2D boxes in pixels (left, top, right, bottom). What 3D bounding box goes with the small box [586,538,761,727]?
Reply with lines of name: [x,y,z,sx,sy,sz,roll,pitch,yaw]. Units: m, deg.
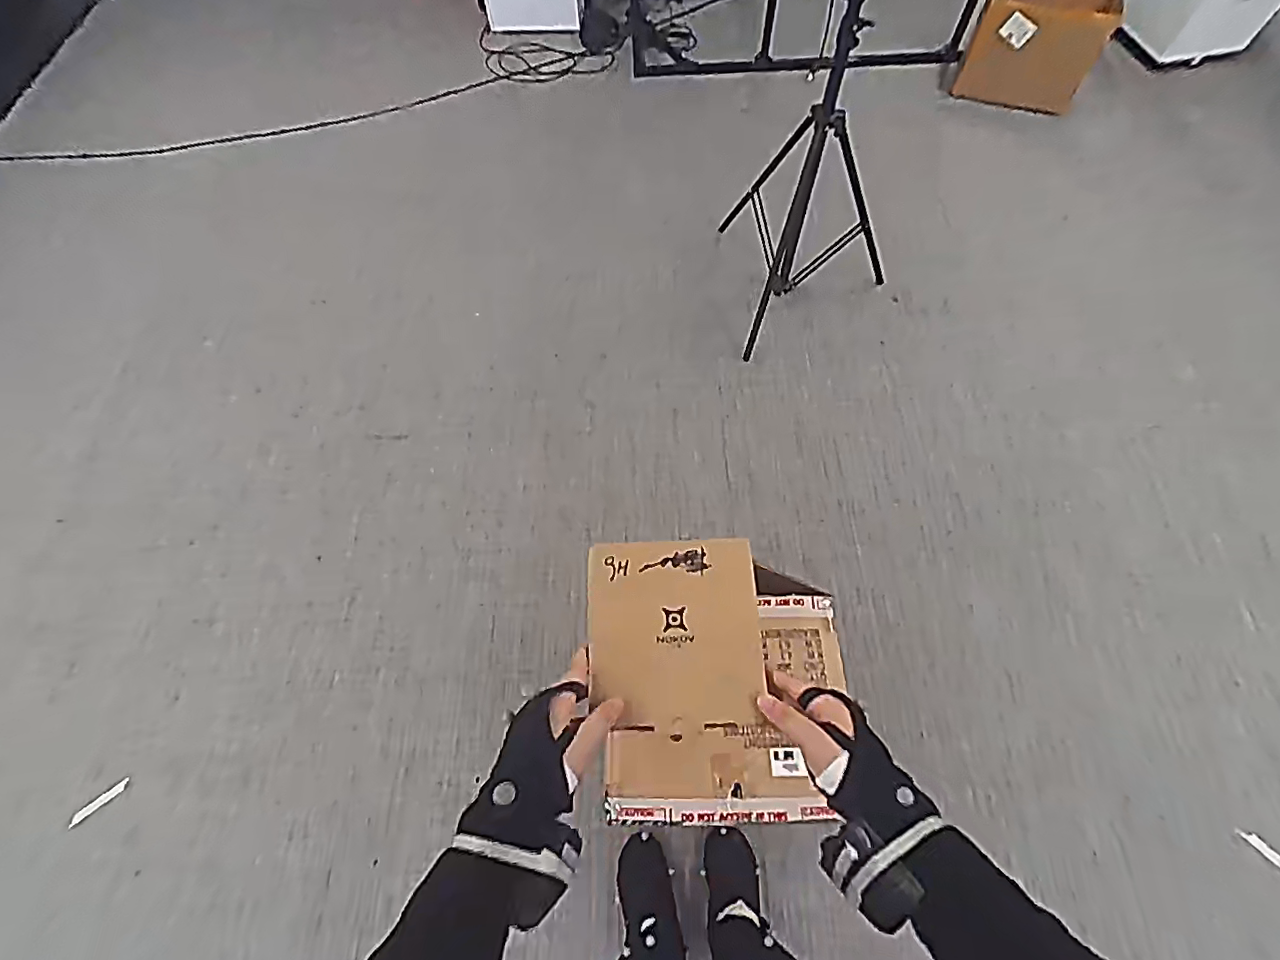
small box: [0.034,0.171,0.601,0.168,0.176,0.179,-3,69,2]
